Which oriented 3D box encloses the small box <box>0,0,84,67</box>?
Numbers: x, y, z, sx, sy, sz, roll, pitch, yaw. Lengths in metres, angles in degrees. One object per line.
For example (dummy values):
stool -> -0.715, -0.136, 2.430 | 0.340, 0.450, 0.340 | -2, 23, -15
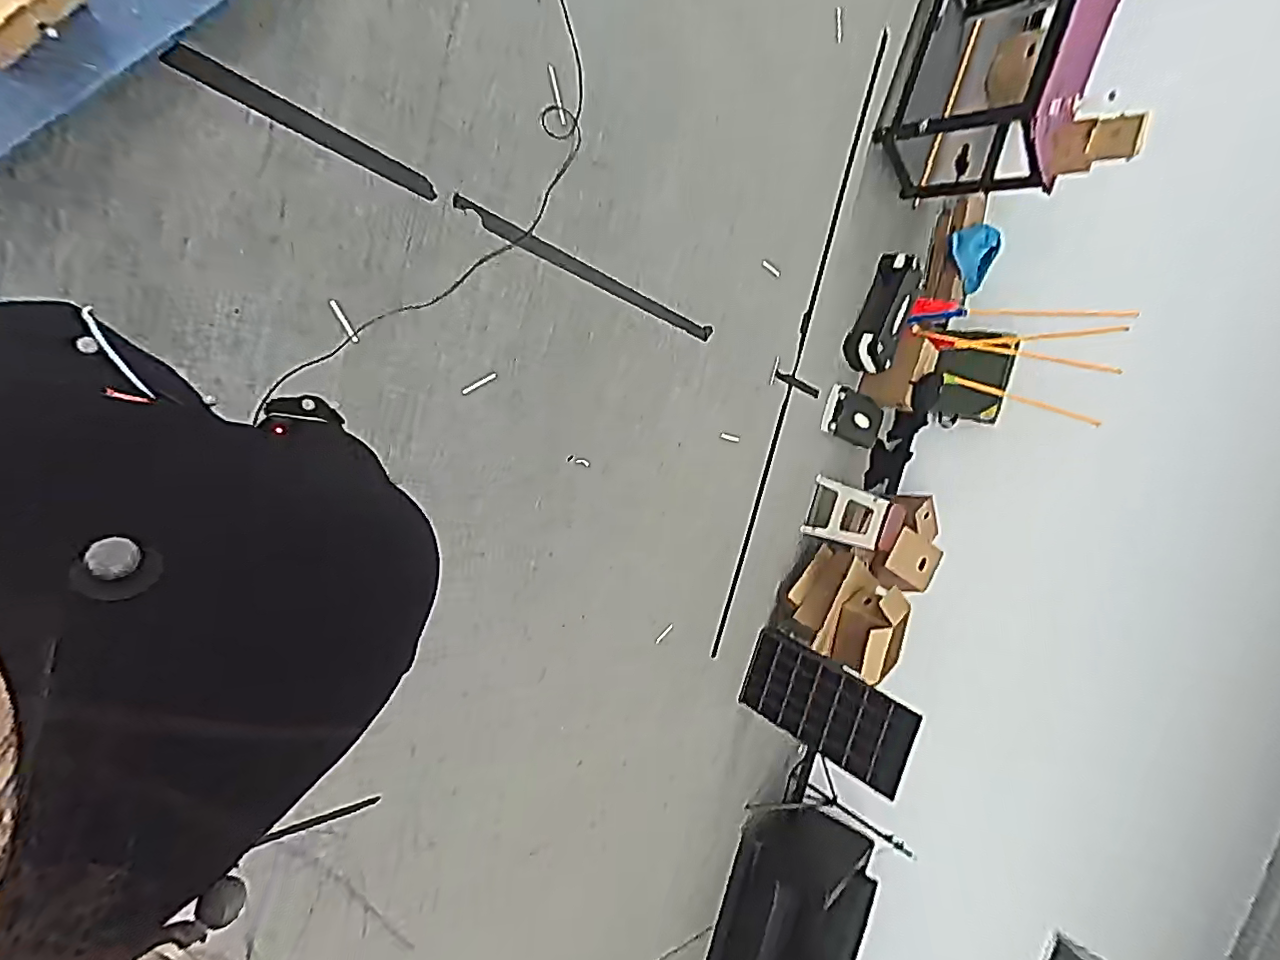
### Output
small box -> -0.860, -0.672, 0.678 | 0.168, 0.176, 0.179 | -57, 137, -13
